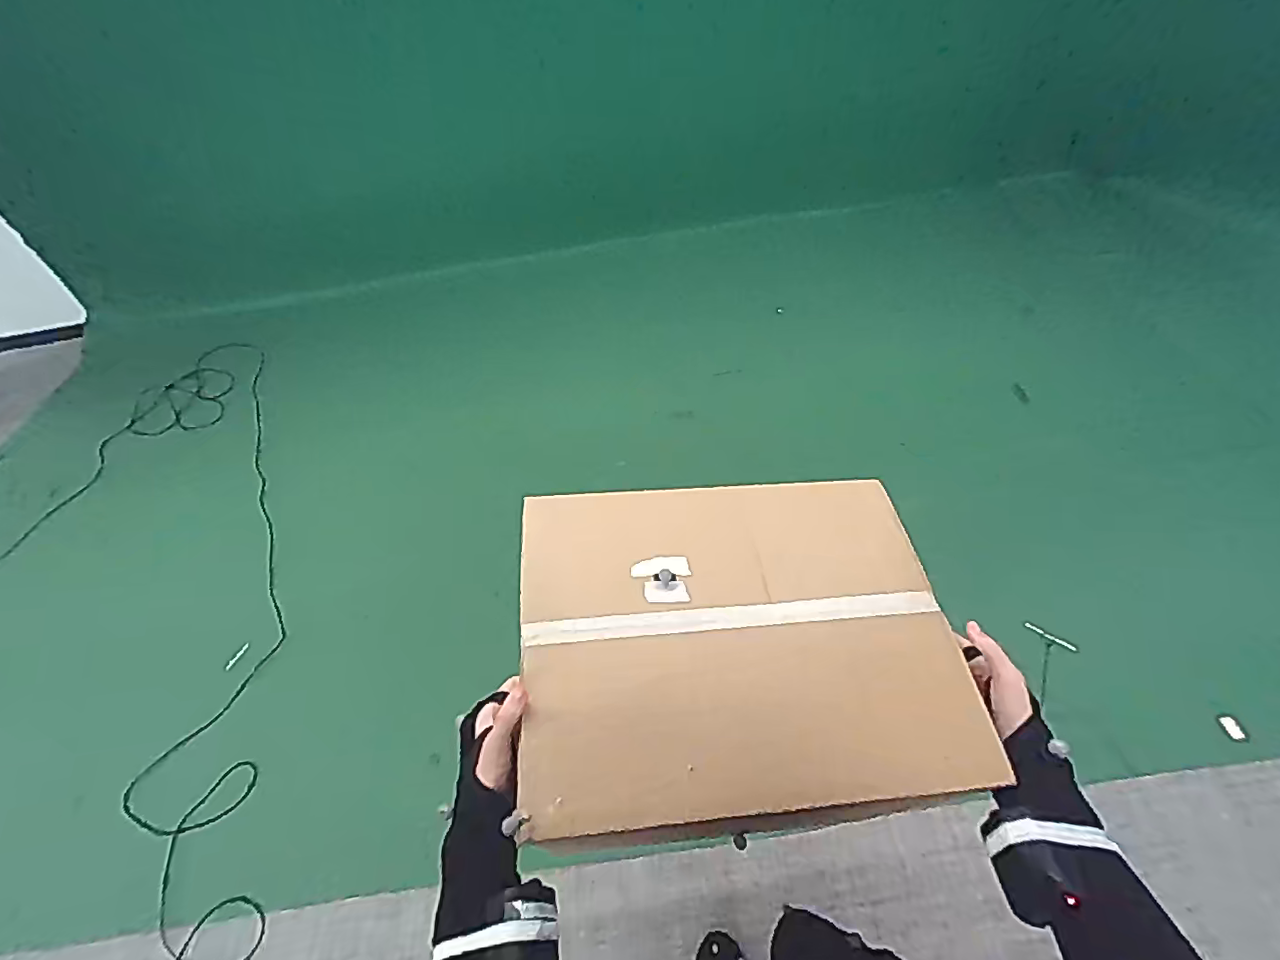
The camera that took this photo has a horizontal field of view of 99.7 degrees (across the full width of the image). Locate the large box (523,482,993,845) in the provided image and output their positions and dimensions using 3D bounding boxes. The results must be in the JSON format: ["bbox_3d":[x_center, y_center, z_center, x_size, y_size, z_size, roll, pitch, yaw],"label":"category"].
[{"bbox_3d":[0.086,0.226,0.645,0.408,0.320,0.320,-4,54,-5],"label":"large box"}]
